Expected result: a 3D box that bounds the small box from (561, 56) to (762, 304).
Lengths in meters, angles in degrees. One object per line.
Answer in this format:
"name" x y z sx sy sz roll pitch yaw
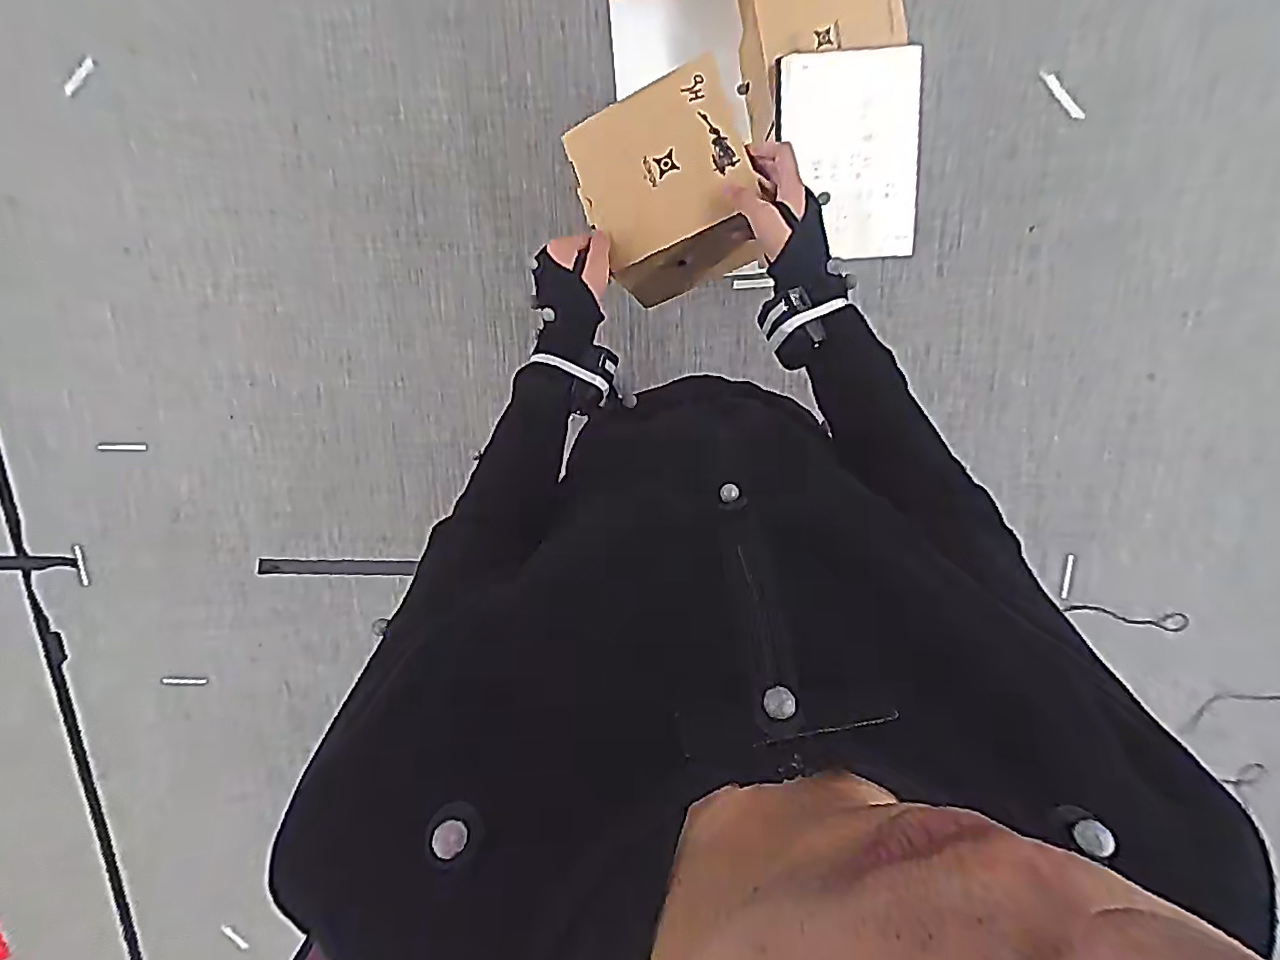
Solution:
"small box" 0.037 -0.333 0.646 0.179 0.176 0.168 -21 90 15
